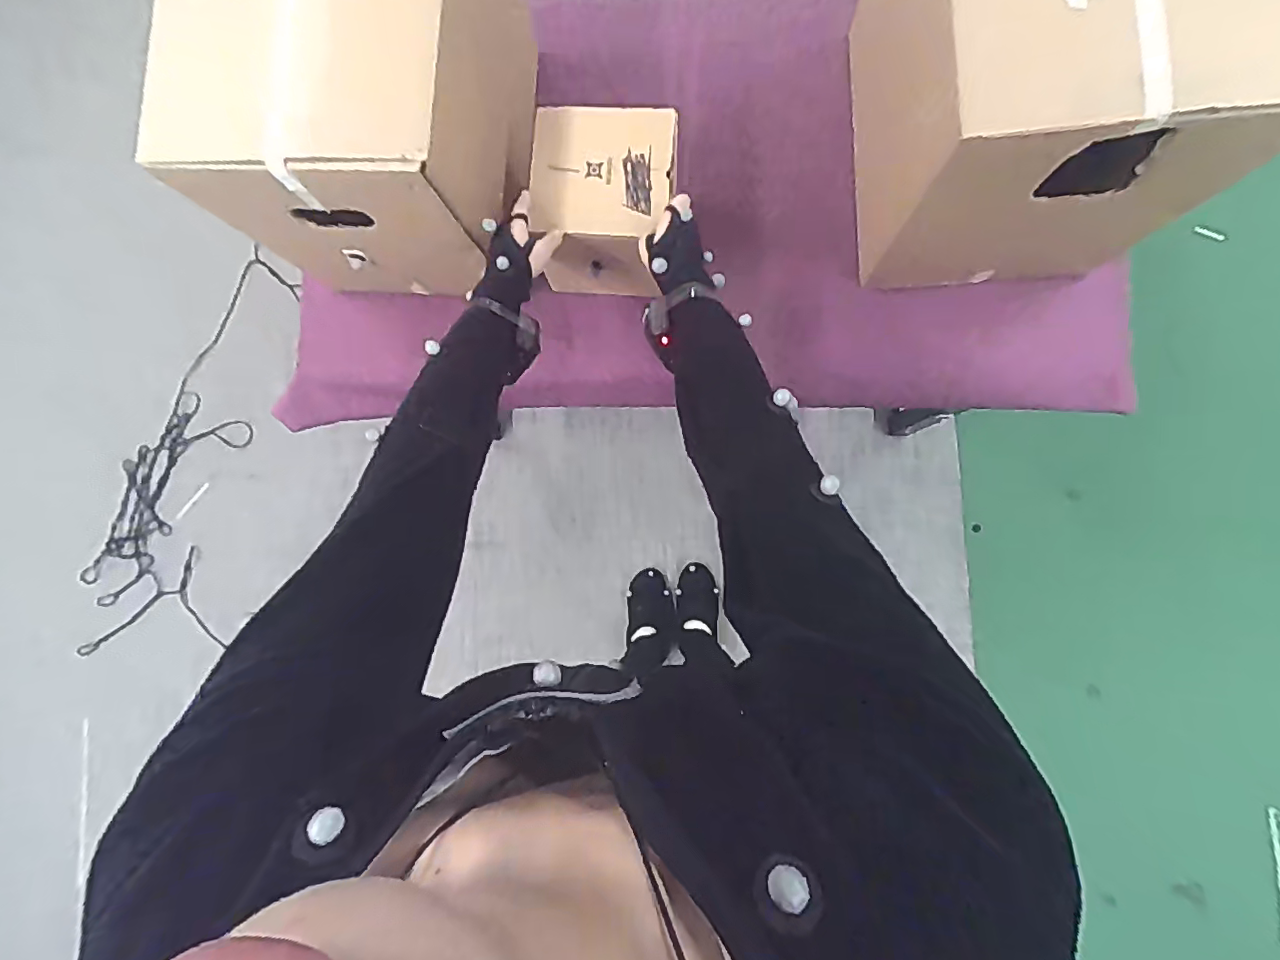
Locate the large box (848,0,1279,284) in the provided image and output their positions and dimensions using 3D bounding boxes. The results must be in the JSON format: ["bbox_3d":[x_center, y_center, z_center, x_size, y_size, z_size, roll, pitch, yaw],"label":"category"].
[{"bbox_3d":[0.451,-0.493,0.630,0.320,0.320,0.408,-2,86,7],"label":"large box"}]
